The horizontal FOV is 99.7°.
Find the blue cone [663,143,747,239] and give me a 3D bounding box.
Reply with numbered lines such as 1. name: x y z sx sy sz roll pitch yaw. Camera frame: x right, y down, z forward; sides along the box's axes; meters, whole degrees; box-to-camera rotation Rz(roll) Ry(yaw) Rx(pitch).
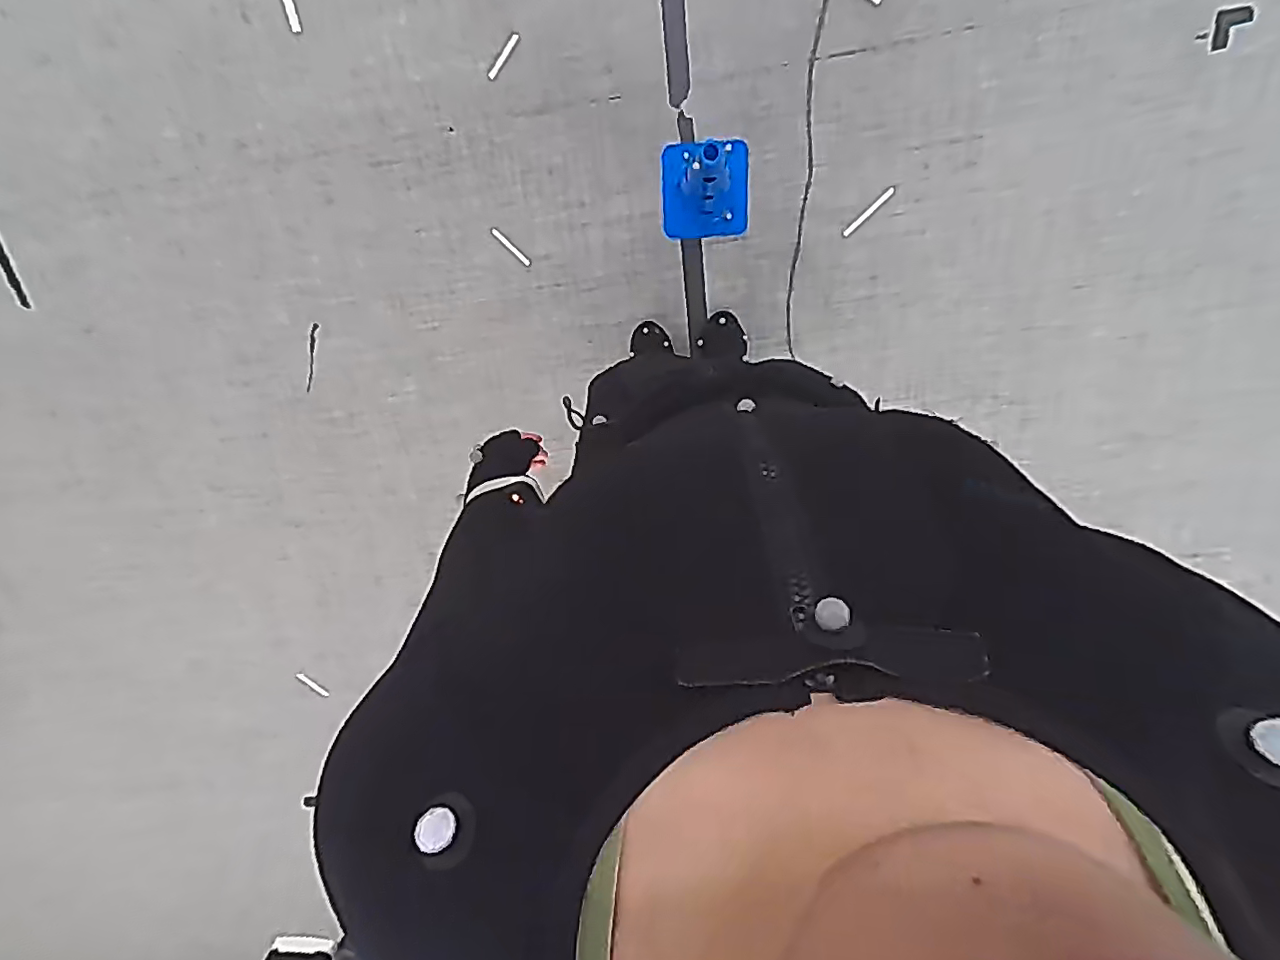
1. blue cone: 0.140 -0.616 1.095 0.193 0.380 0.192 -3 108 5
